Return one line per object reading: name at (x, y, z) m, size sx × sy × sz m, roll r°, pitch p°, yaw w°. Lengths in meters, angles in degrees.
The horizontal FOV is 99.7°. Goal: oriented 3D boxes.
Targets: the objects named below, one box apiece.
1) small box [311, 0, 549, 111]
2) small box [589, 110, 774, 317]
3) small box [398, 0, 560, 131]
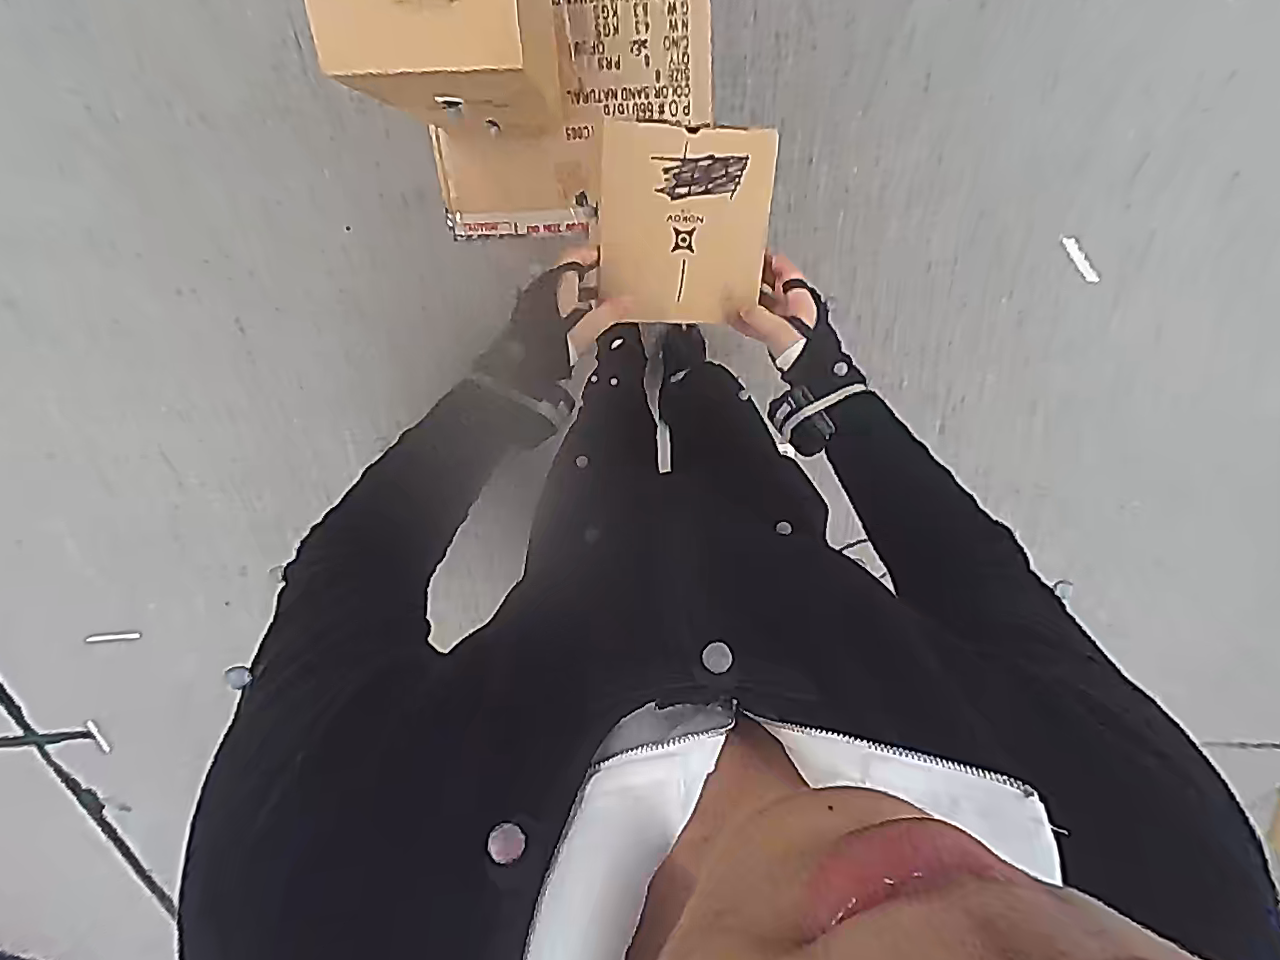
small box at (-0.178, -0.446, 0.476) m, size 0.168 × 0.176 × 0.179 m, roll -3°, pitch 117°, yaw 0°
small box at (0.031, -0.282, 0.596) m, size 0.168 × 0.176 × 0.179 m, roll -1°, pitch 115°, yaw -8°
small box at (-0.187, -0.519, 0.622) m, size 0.168 × 0.176 × 0.179 m, roll -3°, pitch 117°, yaw -1°
